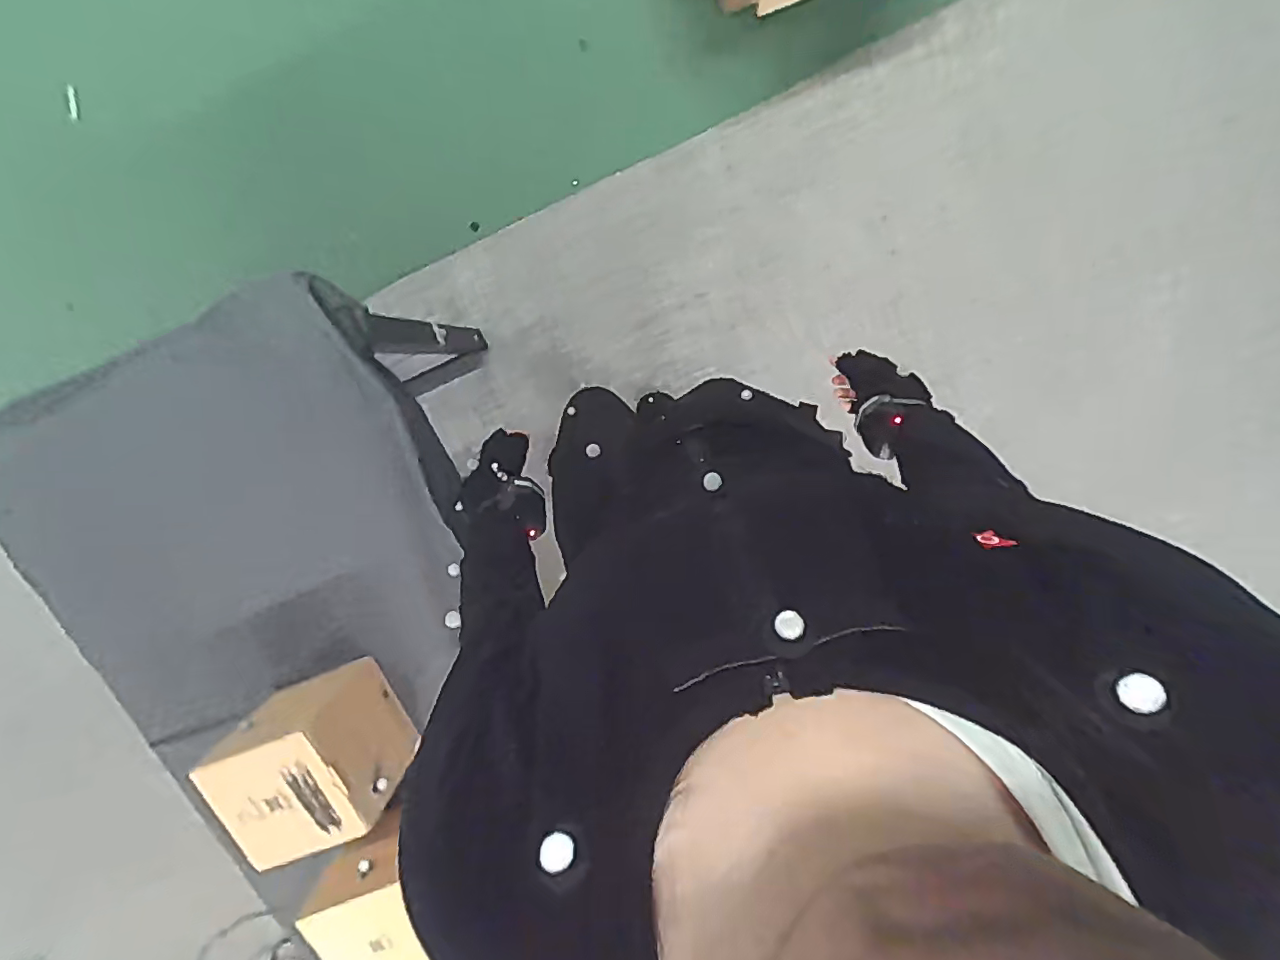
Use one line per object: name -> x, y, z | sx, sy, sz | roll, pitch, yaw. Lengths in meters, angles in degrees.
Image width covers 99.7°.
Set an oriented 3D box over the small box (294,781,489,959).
small box -> -0.359, 0.603, 0.817 | 0.179, 0.176, 0.168 | -25, 101, 6
